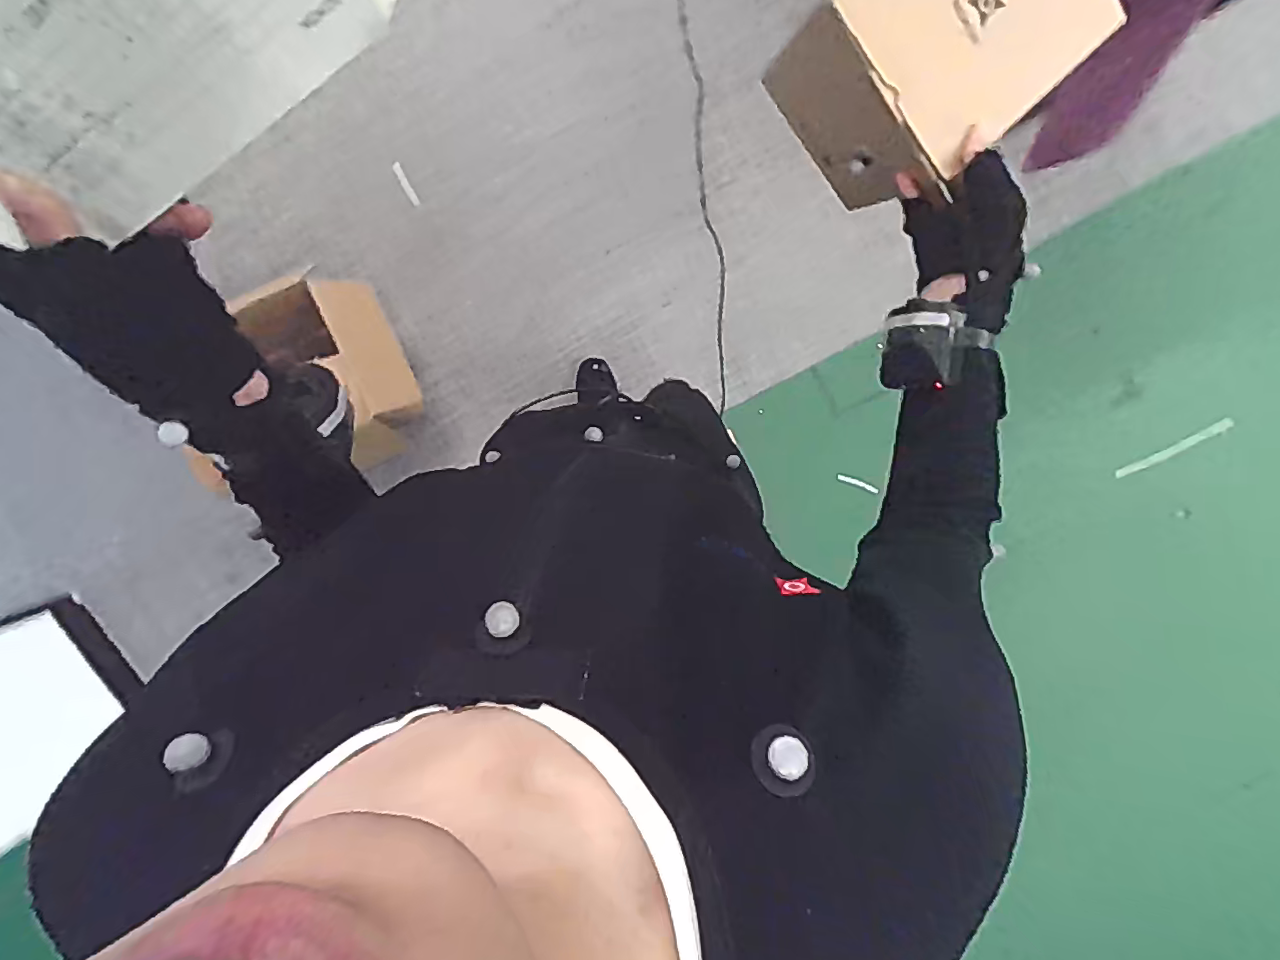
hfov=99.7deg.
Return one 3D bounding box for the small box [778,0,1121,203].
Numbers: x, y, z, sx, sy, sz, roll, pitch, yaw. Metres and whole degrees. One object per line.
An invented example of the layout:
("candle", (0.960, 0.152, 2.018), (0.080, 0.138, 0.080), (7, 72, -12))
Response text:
("small box", (0.244, -0.377, 0.477), (0.179, 0.176, 0.168), (-41, 109, 9))
